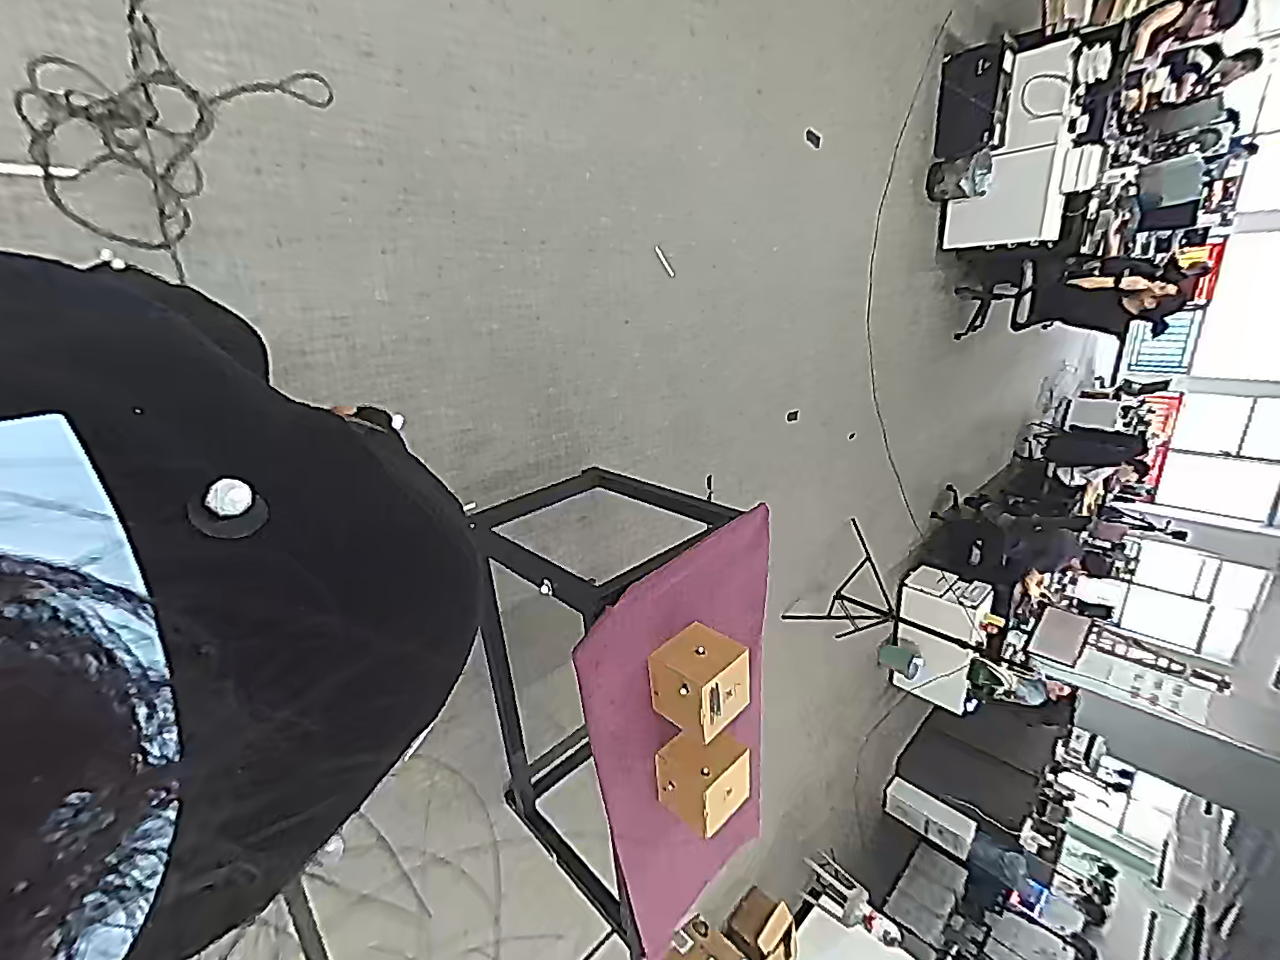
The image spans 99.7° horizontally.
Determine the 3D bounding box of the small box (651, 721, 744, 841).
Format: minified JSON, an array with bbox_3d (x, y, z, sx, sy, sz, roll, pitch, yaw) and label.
[{"bbox_3d":[0.150,0.766,1.400,0.179,0.176,0.168,-21,116,-39],"label":"small box"}]
